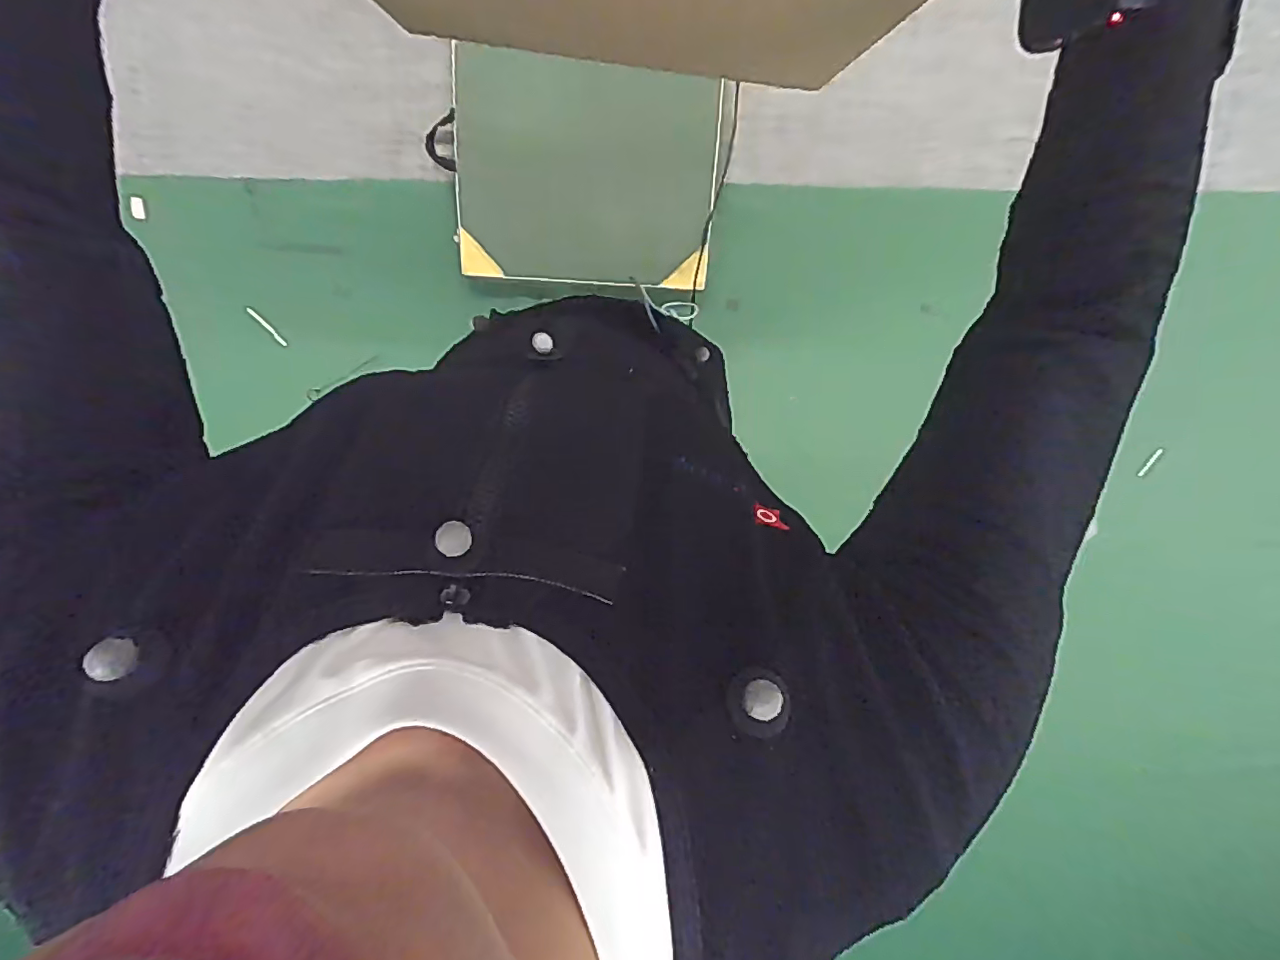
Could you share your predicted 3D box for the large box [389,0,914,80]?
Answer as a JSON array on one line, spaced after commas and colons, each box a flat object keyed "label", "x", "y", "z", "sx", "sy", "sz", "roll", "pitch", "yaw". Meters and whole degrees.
[{"label": "large box", "x": 0.001, "y": -0.485, "z": 0.326, "sx": 0.408, "sy": 0.320, "sz": 0.320, "roll": 5, "pitch": 115, "yaw": -4}]
